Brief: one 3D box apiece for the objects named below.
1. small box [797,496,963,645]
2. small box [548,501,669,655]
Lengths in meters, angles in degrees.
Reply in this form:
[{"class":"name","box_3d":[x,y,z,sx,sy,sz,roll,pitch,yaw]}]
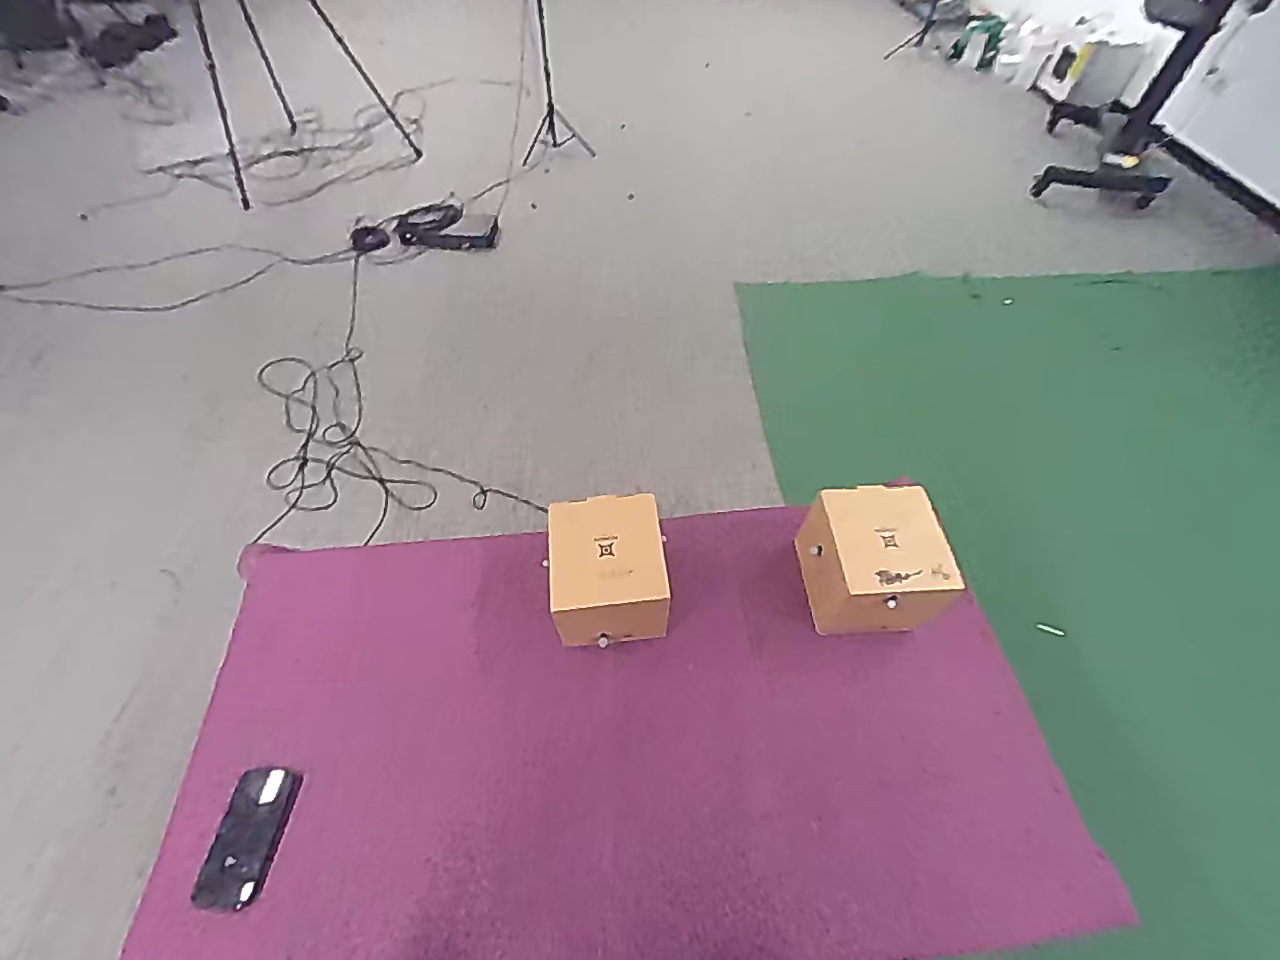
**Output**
[{"class":"small box","box_3d":[0.360,0.144,0.854,0.168,0.176,0.179,-2,53,-2]},{"class":"small box","box_3d":[-0.051,0.154,0.840,0.168,0.176,0.179,-5,55,-4]}]
